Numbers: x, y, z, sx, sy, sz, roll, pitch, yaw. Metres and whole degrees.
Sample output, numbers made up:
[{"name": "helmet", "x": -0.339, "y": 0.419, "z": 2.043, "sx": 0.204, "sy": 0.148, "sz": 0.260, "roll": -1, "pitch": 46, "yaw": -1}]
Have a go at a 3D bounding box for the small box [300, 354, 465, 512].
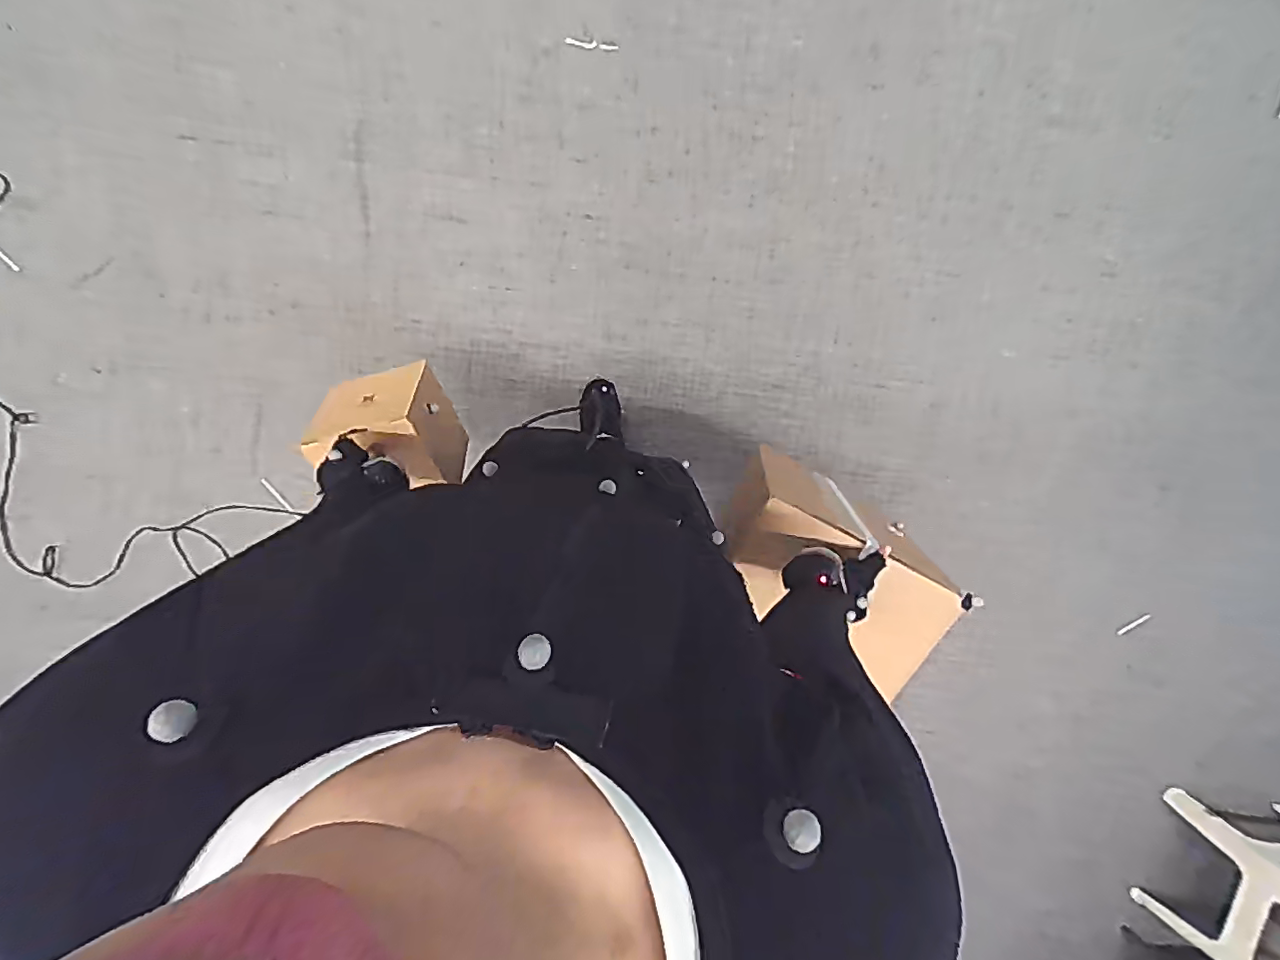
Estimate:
[{"name": "small box", "x": -0.402, "y": -0.076, "z": 0.883, "sx": 0.168, "sy": 0.179, "sz": 0.176, "roll": -15, "pitch": 132, "yaw": 3}]
